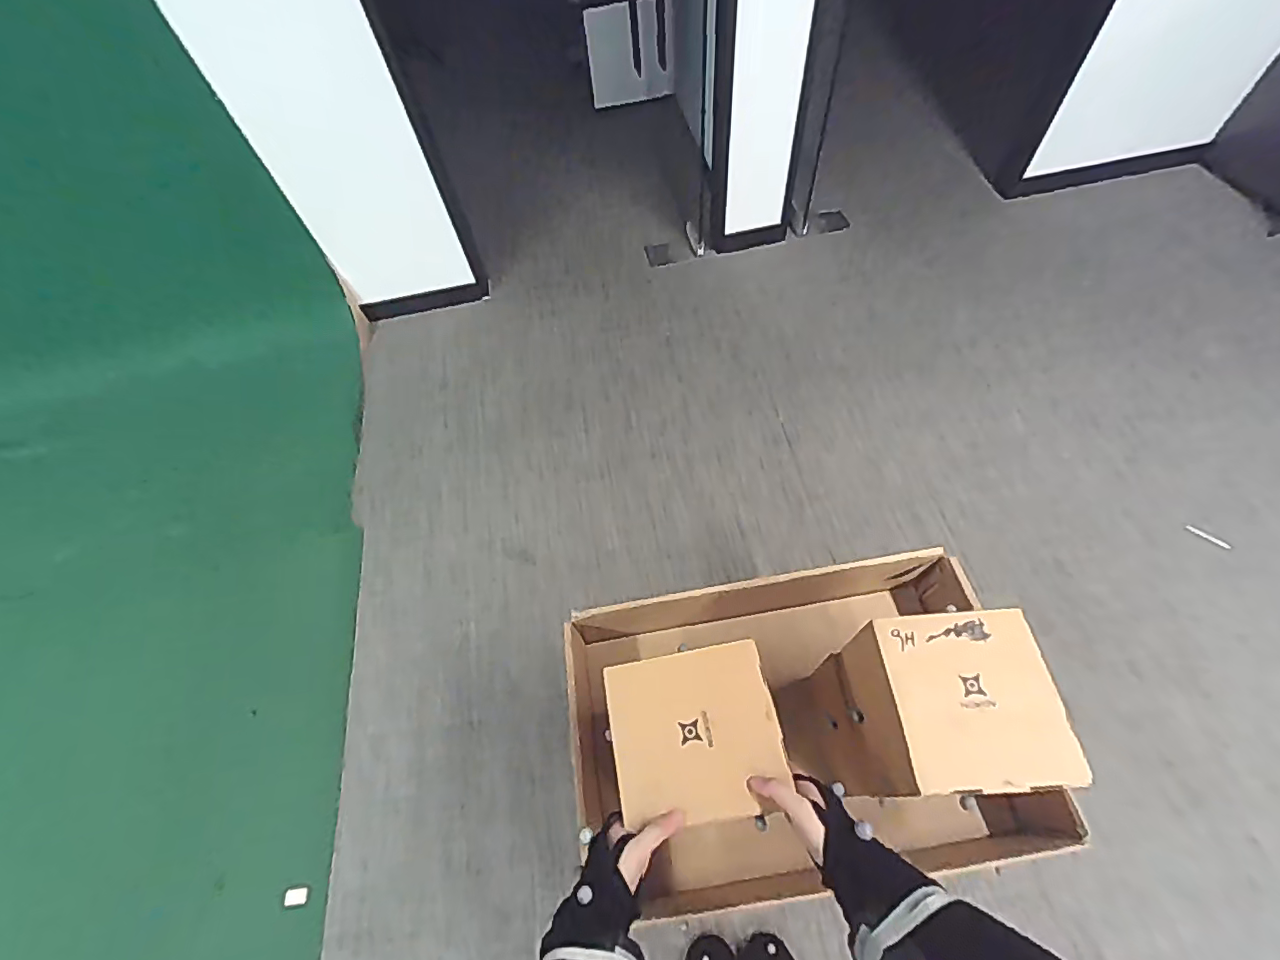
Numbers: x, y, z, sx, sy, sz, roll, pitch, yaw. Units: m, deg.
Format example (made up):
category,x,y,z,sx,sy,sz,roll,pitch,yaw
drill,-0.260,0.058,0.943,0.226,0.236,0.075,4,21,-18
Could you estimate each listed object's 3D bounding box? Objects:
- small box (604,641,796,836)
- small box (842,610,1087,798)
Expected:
category,x,y,z,sx,sy,sz,roll,pitch,yaw
small box,0.066,0.307,0.635,0.179,0.176,0.168,-12,58,0
small box,0.350,0.262,0.627,0.168,0.176,0.179,-5,60,4
